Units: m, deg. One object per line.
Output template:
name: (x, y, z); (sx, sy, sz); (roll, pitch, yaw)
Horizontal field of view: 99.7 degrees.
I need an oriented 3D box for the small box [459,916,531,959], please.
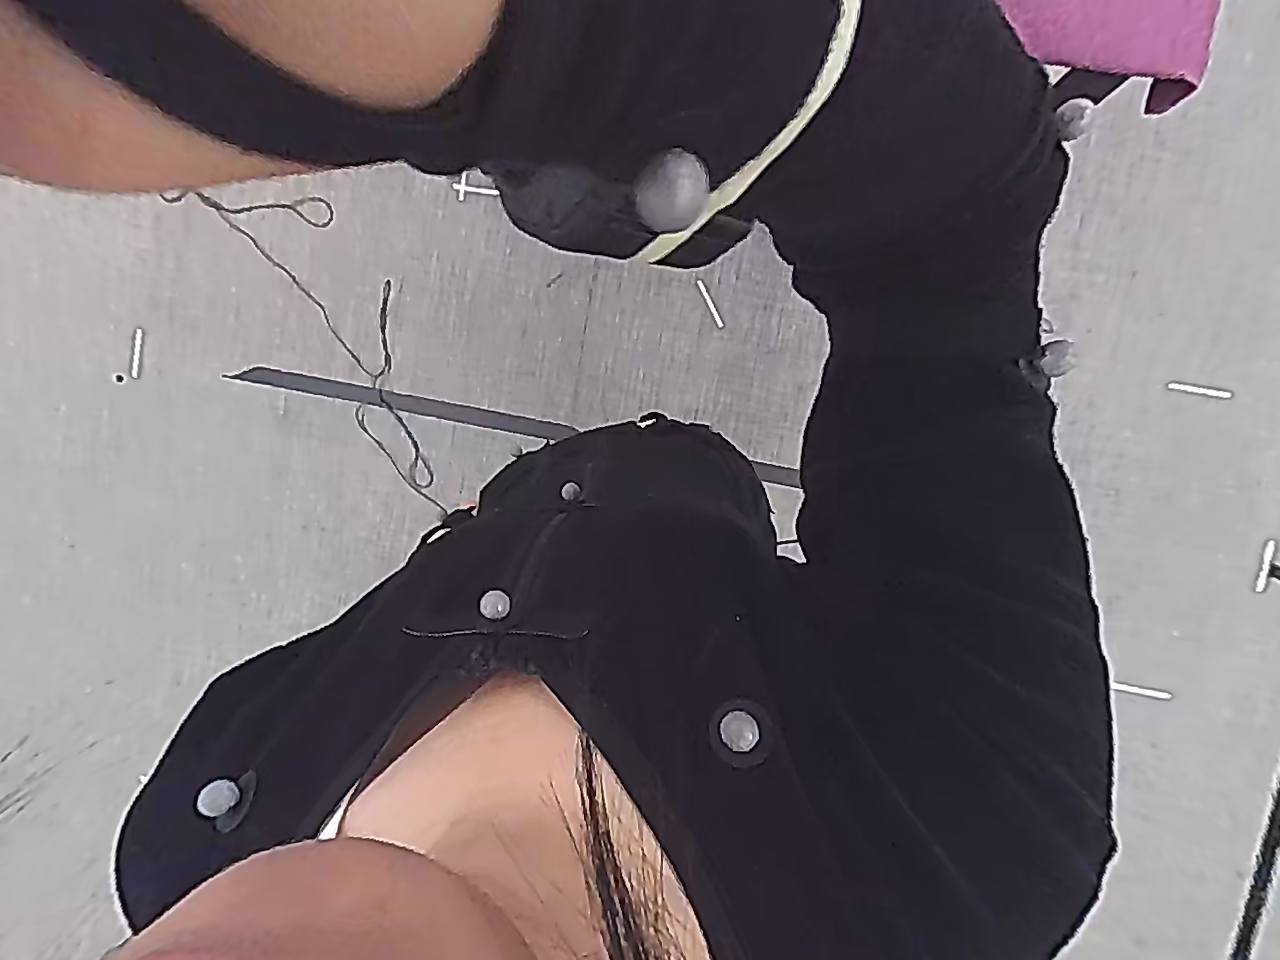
small box: (-0.399, 1.348, 1.471); (0.168, 0.176, 0.179); (4, 94, 2)
